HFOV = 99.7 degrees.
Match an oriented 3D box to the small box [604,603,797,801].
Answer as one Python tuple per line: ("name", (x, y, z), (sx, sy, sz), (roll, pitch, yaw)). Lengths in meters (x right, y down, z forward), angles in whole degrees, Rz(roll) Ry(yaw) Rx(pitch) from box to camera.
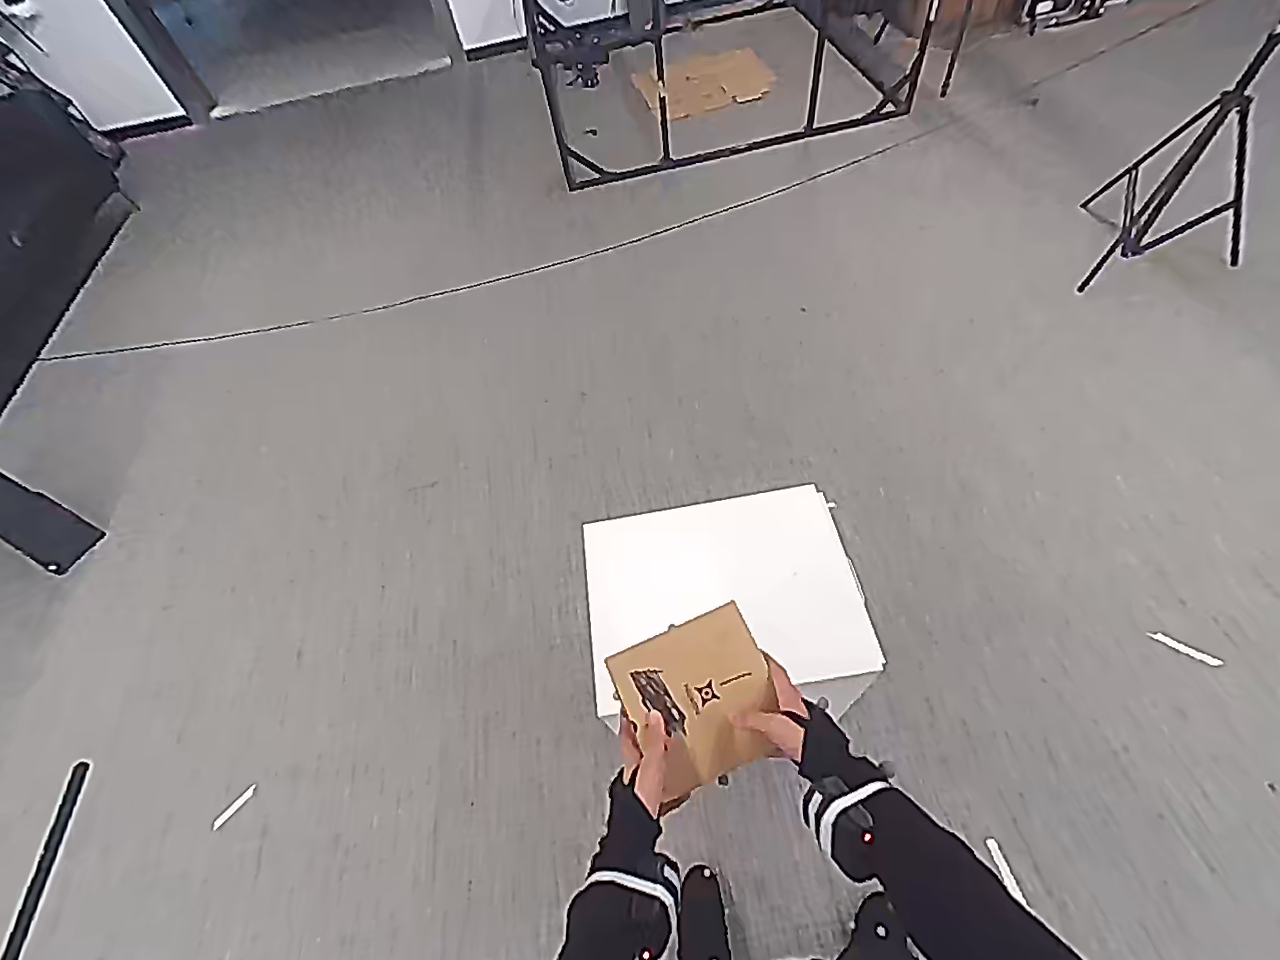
("small box", (0.071, 0.284, 0.694), (0.179, 0.176, 0.168), (-22, 66, -8))
